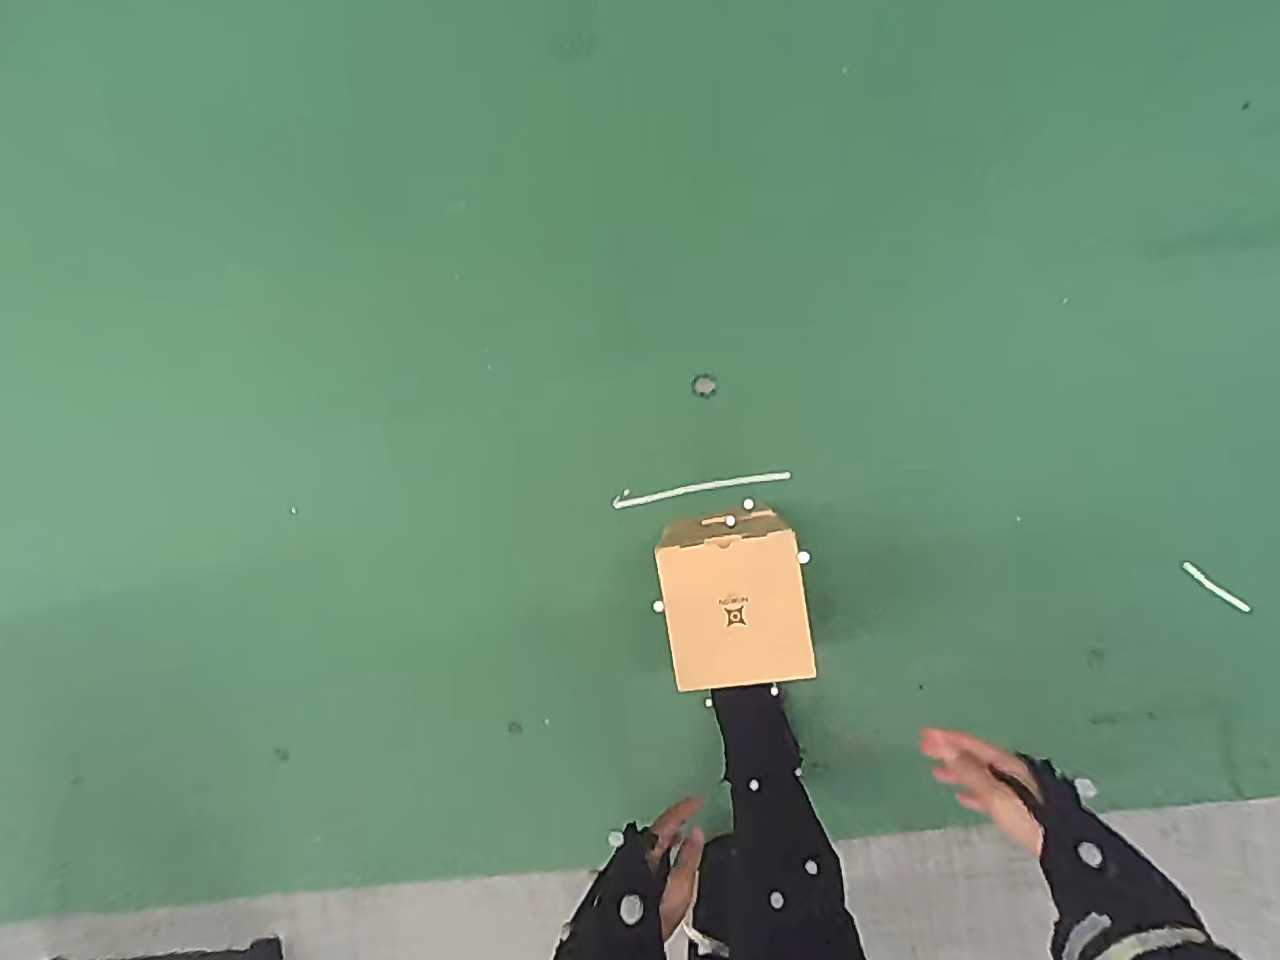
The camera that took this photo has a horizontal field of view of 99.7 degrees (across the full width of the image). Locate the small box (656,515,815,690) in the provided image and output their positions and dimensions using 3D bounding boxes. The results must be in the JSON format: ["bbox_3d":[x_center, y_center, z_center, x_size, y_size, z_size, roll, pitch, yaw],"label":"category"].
[{"bbox_3d":[0.122,0.150,0.707,0.168,0.176,0.179,-9,90,8],"label":"small box"}]
